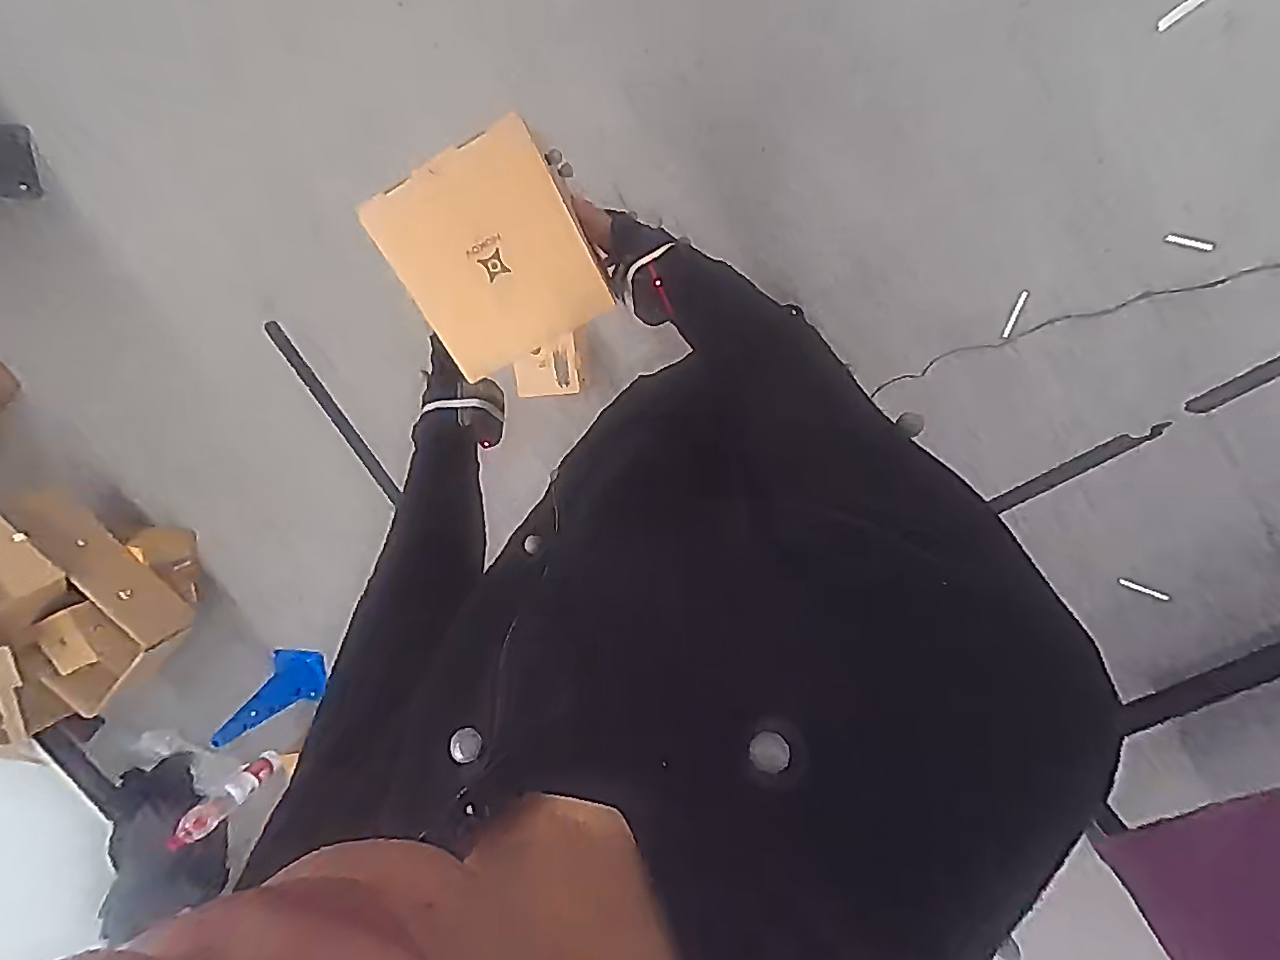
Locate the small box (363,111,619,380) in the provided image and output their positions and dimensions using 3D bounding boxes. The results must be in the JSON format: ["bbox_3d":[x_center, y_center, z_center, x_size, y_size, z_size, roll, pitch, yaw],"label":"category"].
[{"bbox_3d":[-0.131,-0.233,0.552,0.168,0.176,0.179,-26,115,8],"label":"small box"}]
